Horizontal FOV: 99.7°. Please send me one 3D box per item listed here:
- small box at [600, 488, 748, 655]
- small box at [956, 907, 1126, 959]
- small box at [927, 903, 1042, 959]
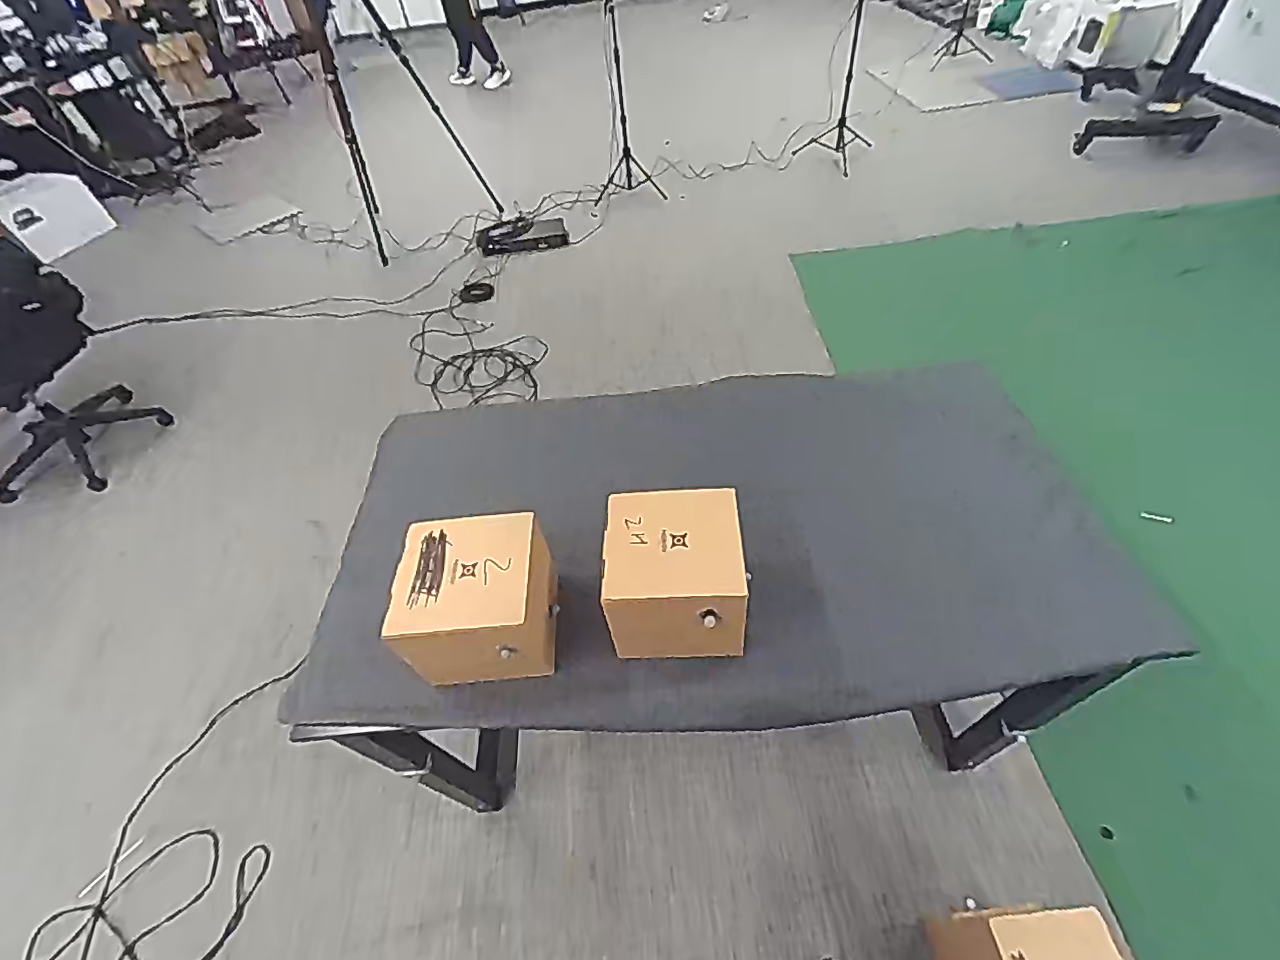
[{"bbox_3d":[0.050,0.128,0.742,0.179,0.176,0.168,-3,49,6],"label":"small box"},{"bbox_3d":[0.645,0.787,0.856,0.179,0.176,0.168,-6,51,2],"label":"small box"},{"bbox_3d":[0.658,0.889,0.985,0.168,0.176,0.179,-8,50,1],"label":"small box"}]
